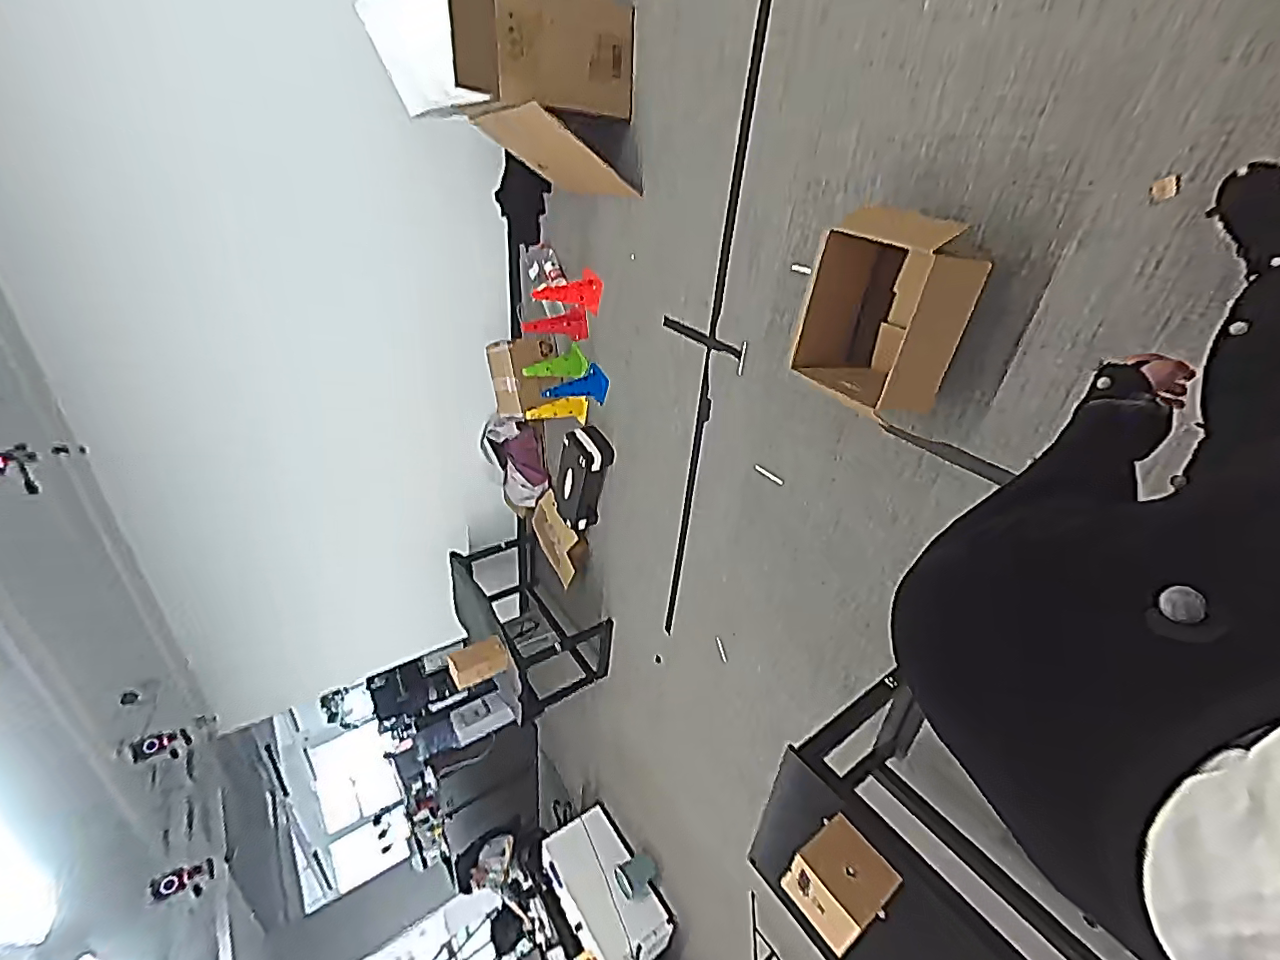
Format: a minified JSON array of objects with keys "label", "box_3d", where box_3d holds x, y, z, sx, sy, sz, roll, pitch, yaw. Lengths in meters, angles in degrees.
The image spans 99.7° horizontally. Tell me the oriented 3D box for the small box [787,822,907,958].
[{"label":"small box","box_3d":[0.484,0.950,1.273,0.179,0.176,0.168,39,135,40]}]
